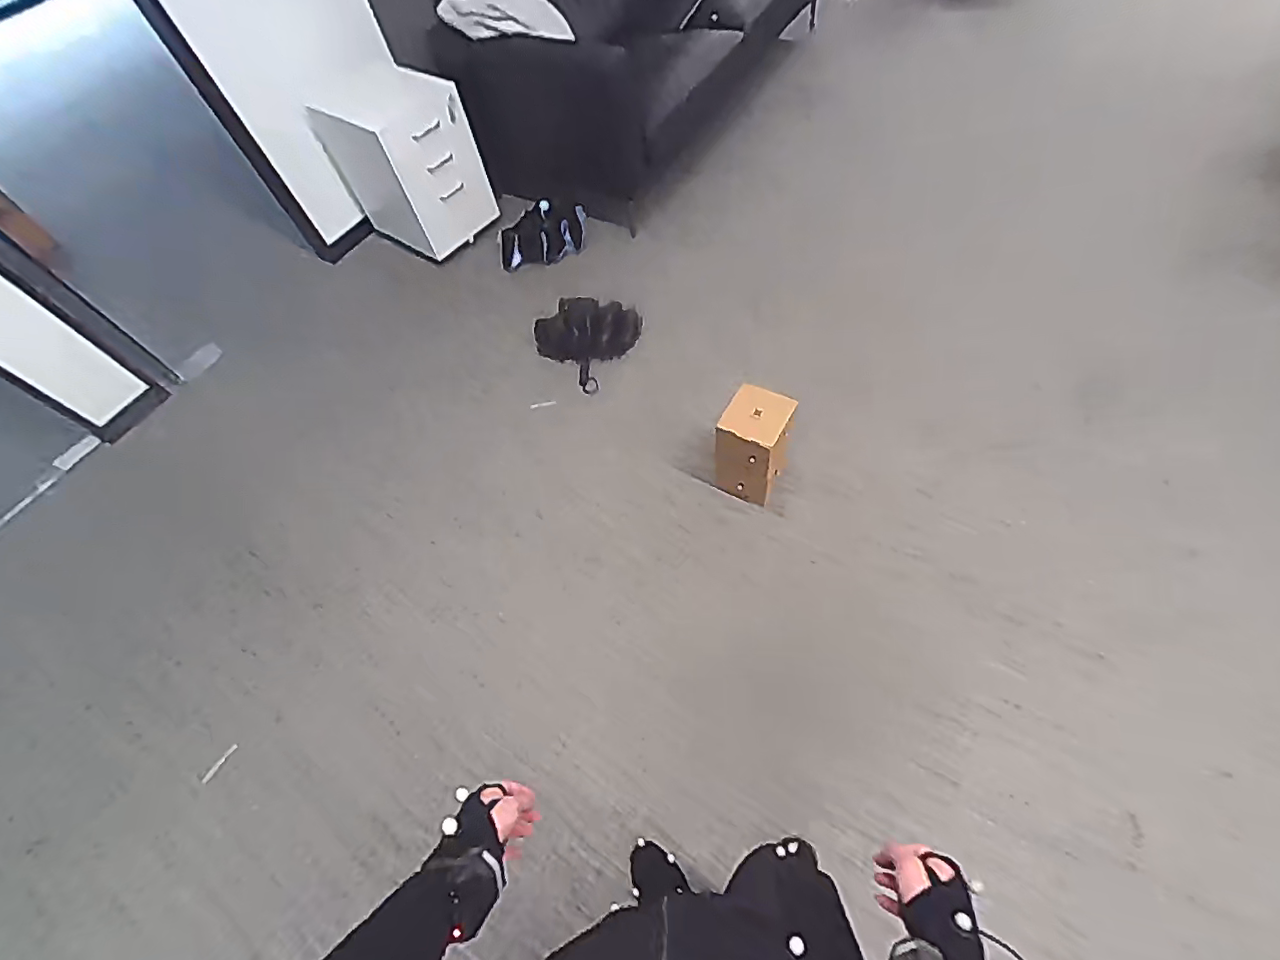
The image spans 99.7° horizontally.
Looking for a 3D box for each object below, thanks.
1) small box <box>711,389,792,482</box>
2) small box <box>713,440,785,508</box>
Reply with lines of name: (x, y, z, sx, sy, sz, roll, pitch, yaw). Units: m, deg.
small box: (0.316, -0.123, 1.546, 0.168, 0.176, 0.179, 24, 64, 20)
small box: (0.339, -0.041, 1.685, 0.168, 0.176, 0.179, 22, 65, 20)
